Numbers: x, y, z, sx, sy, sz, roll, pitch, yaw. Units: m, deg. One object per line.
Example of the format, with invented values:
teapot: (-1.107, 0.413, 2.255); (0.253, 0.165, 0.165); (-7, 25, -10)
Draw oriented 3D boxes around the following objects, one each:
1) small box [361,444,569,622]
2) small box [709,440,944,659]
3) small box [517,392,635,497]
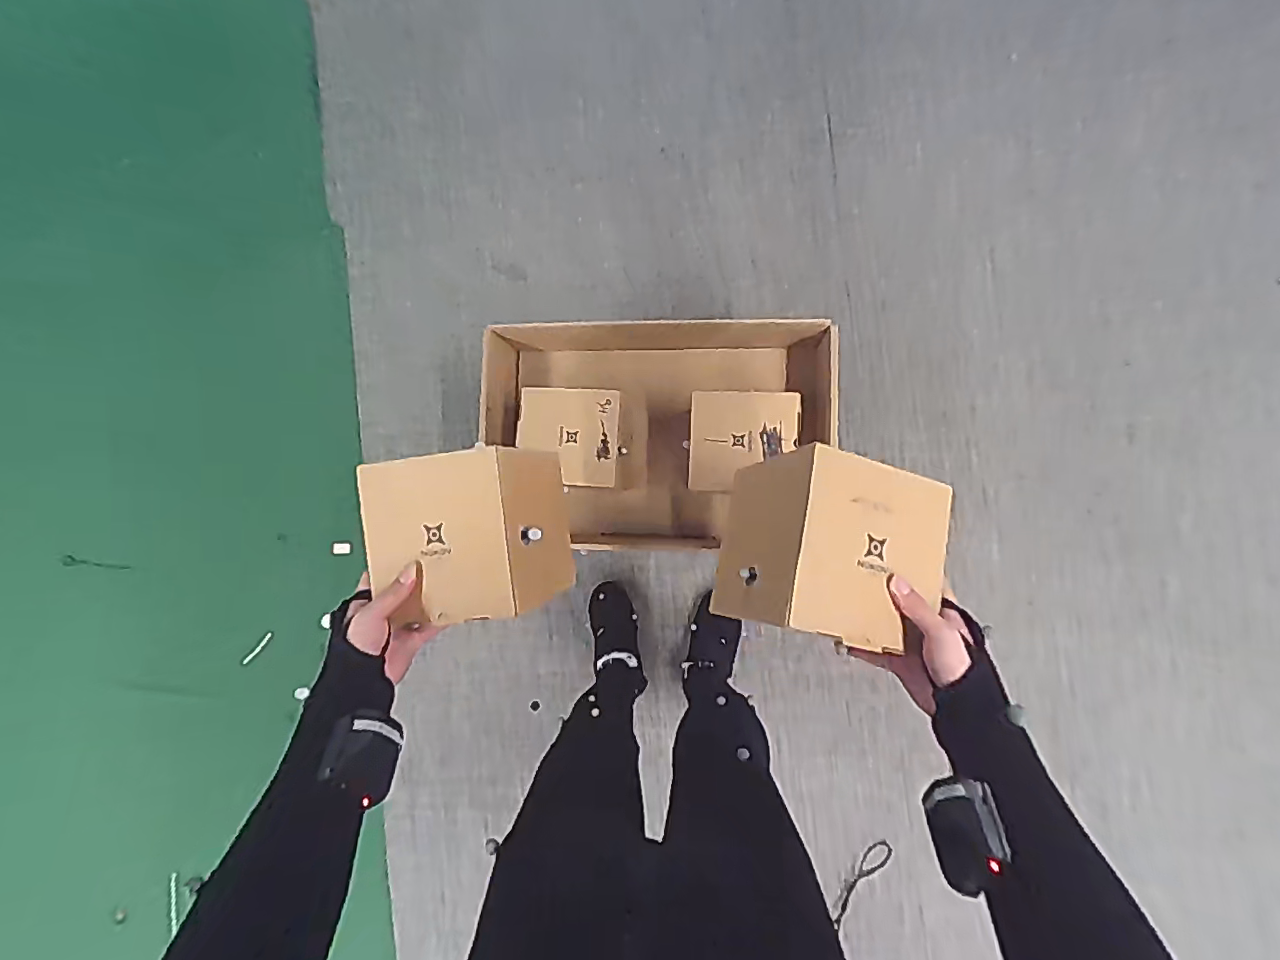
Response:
small box: (-0.194, 0.058, 0.640); (0.168, 0.176, 0.179); (-7, 89, 13)
small box: (0.191, 0.078, 0.588); (0.168, 0.176, 0.179); (17, 76, -14)
small box: (-0.113, -0.059, 0.994); (0.179, 0.176, 0.168); (4, 87, 9)
